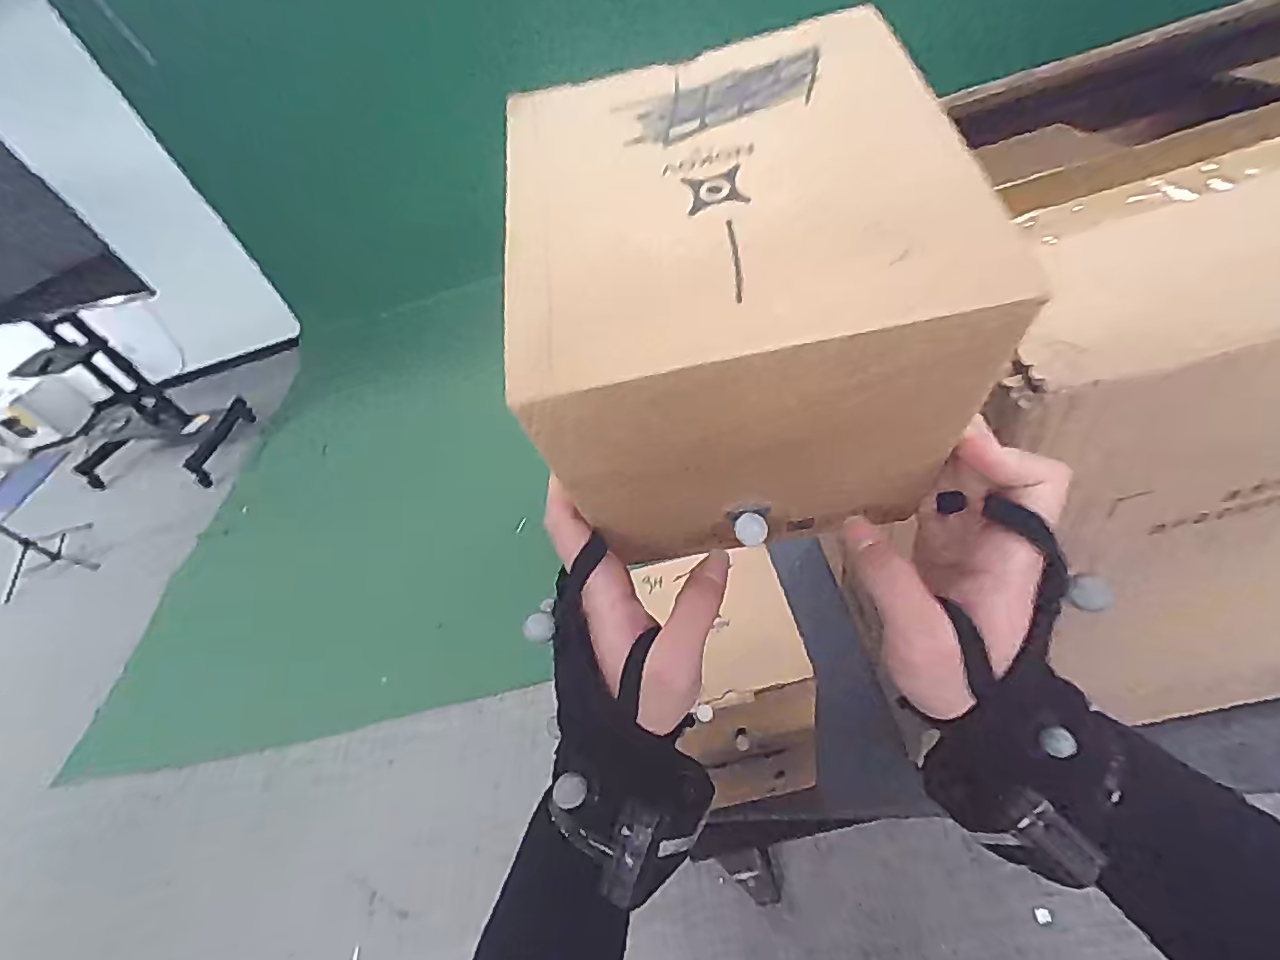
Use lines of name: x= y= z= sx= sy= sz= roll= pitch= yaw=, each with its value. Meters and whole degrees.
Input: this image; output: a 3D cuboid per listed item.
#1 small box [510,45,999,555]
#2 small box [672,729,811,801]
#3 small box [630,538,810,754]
small box: x=0.042 y=-0.079 z=0.290 sx=0.168 sy=0.176 sz=0.179 roll=-11 pitch=60 yaw=7
small box: x=0.129 y=0.318 z=0.743 sx=0.168 sy=0.176 sz=0.179 roll=-15 pitch=42 yaw=3
small box: x=0.094 y=0.201 z=0.633 sx=0.168 sy=0.176 sz=0.179 roll=-14 pitch=44 yaw=4
